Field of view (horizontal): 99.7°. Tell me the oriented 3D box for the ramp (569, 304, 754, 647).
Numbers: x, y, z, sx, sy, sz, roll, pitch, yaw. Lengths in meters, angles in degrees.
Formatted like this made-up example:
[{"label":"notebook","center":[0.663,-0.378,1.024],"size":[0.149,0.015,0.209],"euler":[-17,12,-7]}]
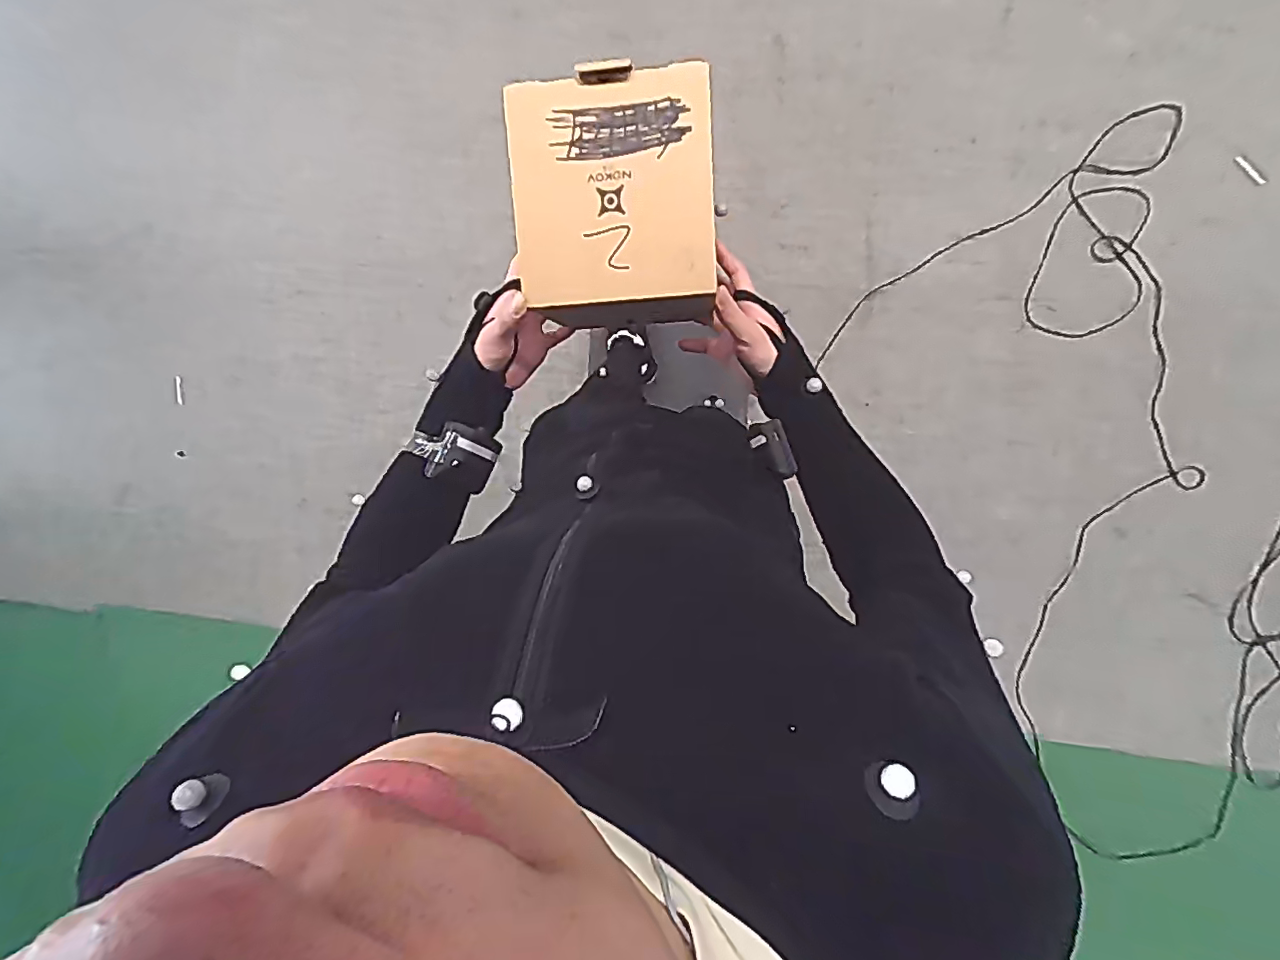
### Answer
[{"label":"ramp","center":[0.057,-0.020,1.619],"size":[0.509,0.206,0.991],"euler":[3,101,9]}]
